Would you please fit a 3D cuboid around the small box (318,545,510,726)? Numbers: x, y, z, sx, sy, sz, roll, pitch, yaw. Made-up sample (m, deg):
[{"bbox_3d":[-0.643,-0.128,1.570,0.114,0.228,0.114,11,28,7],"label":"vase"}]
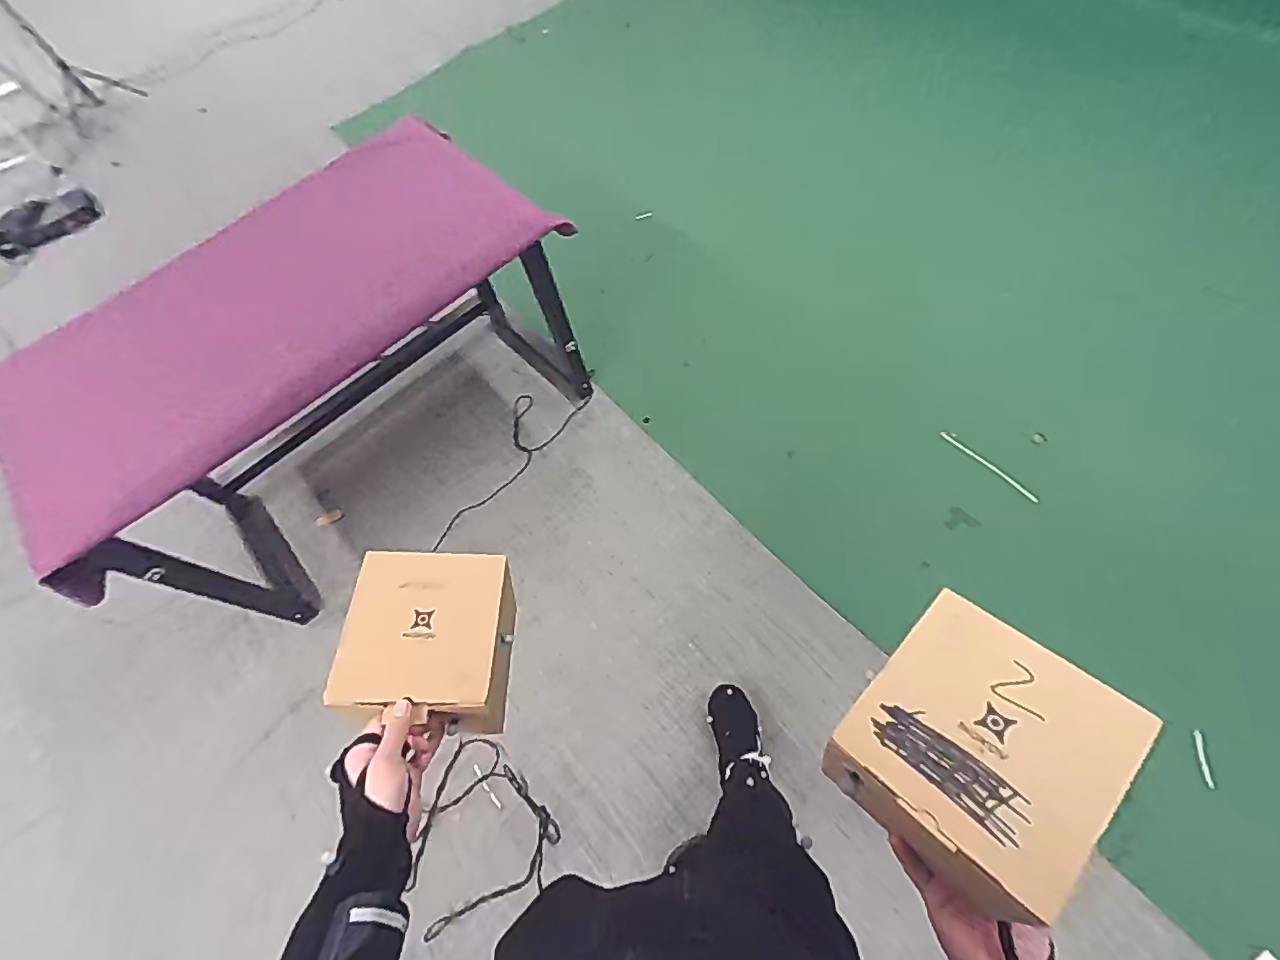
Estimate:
[{"bbox_3d":[-0.257,0.198,0.668,0.168,0.176,0.179,3,54,-6],"label":"small box"}]
